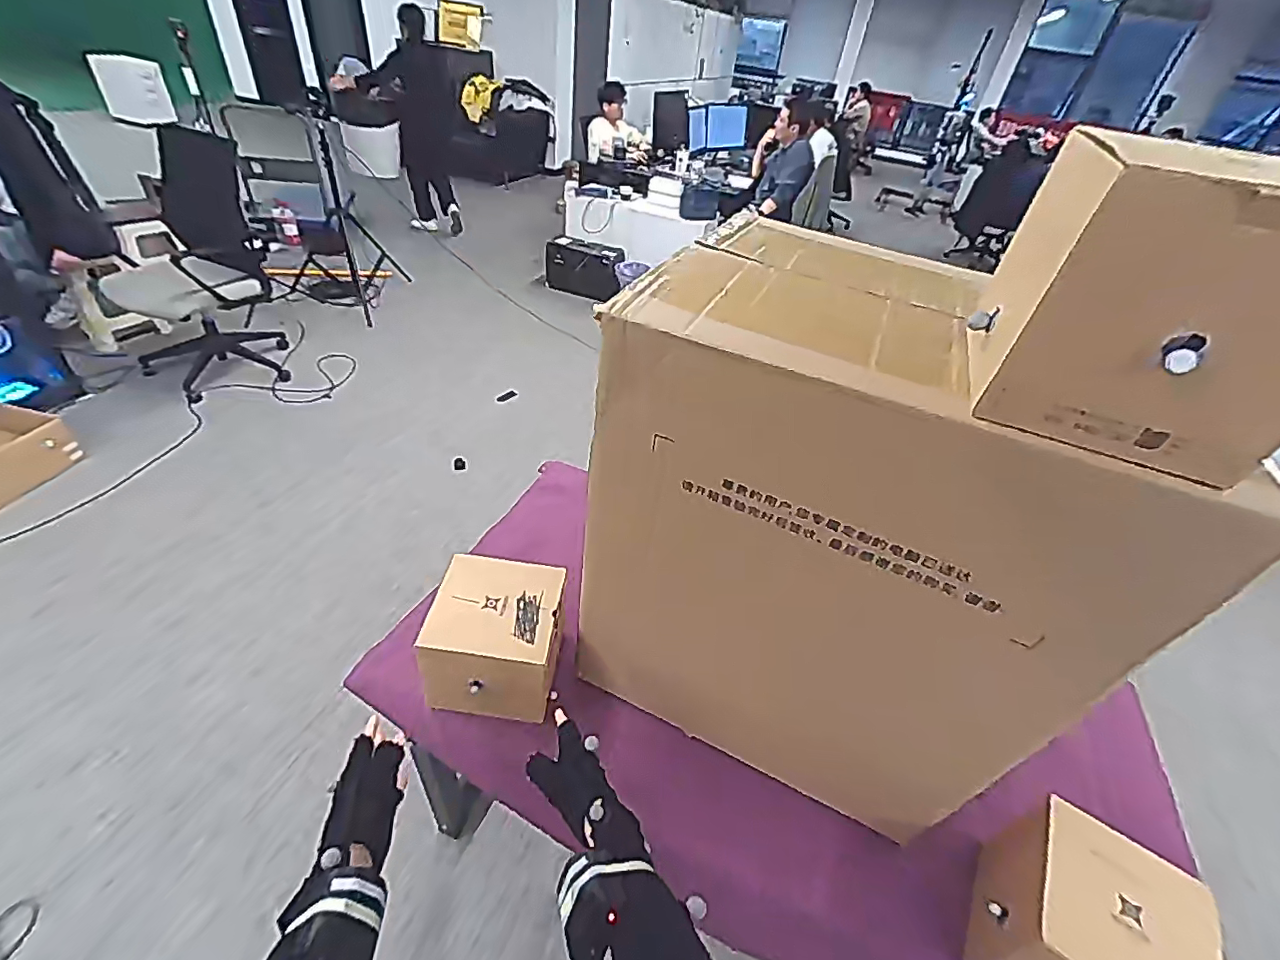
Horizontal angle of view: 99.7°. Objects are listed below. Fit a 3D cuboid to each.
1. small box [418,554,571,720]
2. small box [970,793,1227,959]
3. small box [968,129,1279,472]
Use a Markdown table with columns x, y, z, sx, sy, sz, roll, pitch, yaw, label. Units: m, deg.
| x | y | z | sx | sy | sz | roll | pitch | yaw | label |
| --- | --- | --- | --- | --- | --- | --- | --- | --- | --- |
| -0.208 | 0.239 | 0.815 | 0.179 | 0.176 | 0.168 | 9 | 39 | -1 | small box |
| 0.506 | 0.515 | 0.616 | 0.168 | 0.176 | 0.179 | 28 | 42 | 21 | small box |
| 0.361 | -0.132 | 0.388 | 0.168 | 0.176 | 0.179 | 20 | 43 | 14 | small box |
